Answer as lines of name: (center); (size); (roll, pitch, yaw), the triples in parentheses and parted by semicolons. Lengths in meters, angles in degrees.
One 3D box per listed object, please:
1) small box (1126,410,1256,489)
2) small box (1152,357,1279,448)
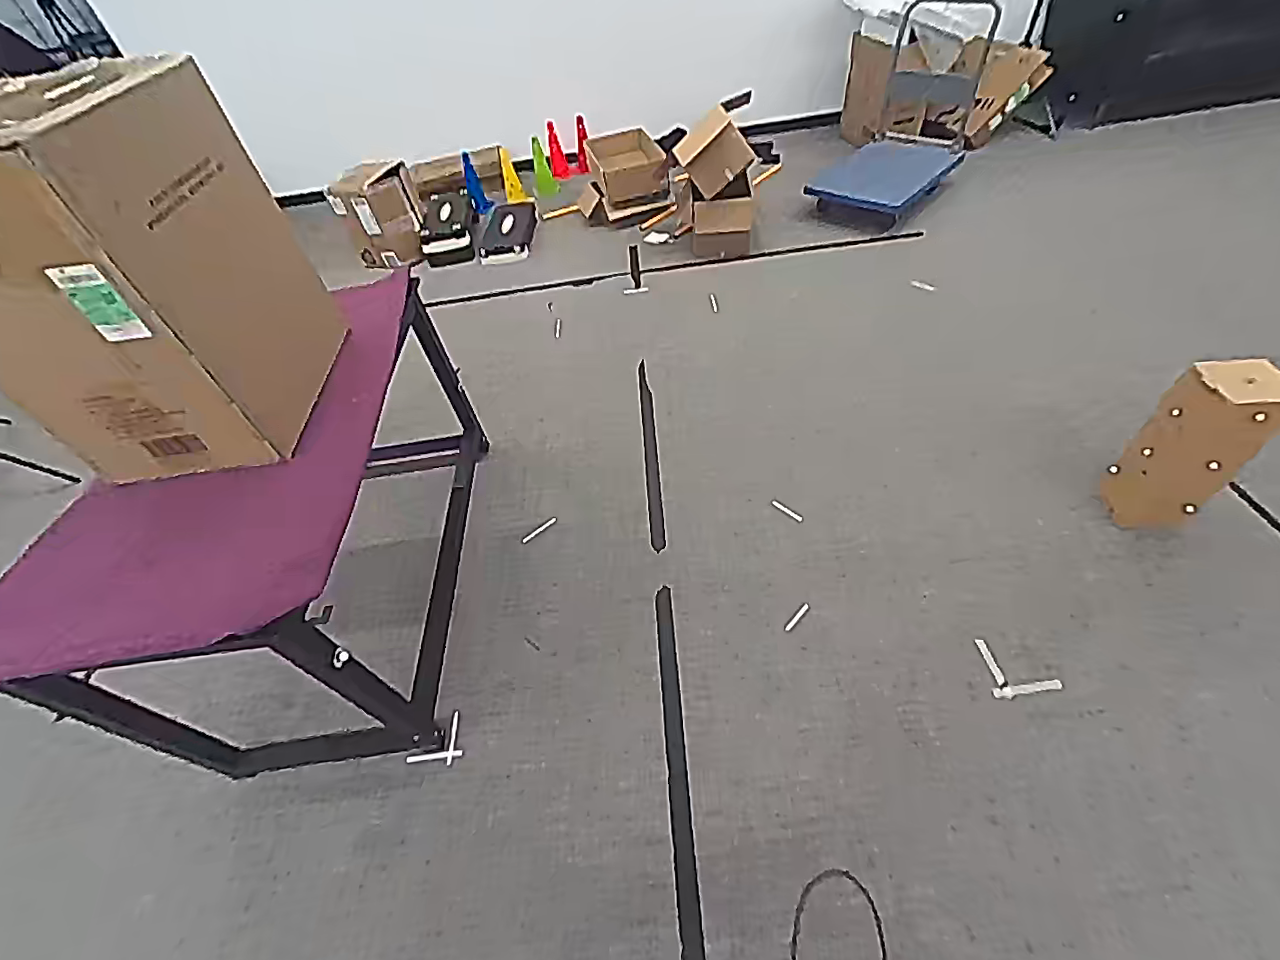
small box: (1.530, -0.086, 1.523); (0.179, 0.176, 0.168); (-2, 48, 7)
small box: (1.514, -0.199, 1.407); (0.179, 0.176, 0.168); (-2, 48, 7)
